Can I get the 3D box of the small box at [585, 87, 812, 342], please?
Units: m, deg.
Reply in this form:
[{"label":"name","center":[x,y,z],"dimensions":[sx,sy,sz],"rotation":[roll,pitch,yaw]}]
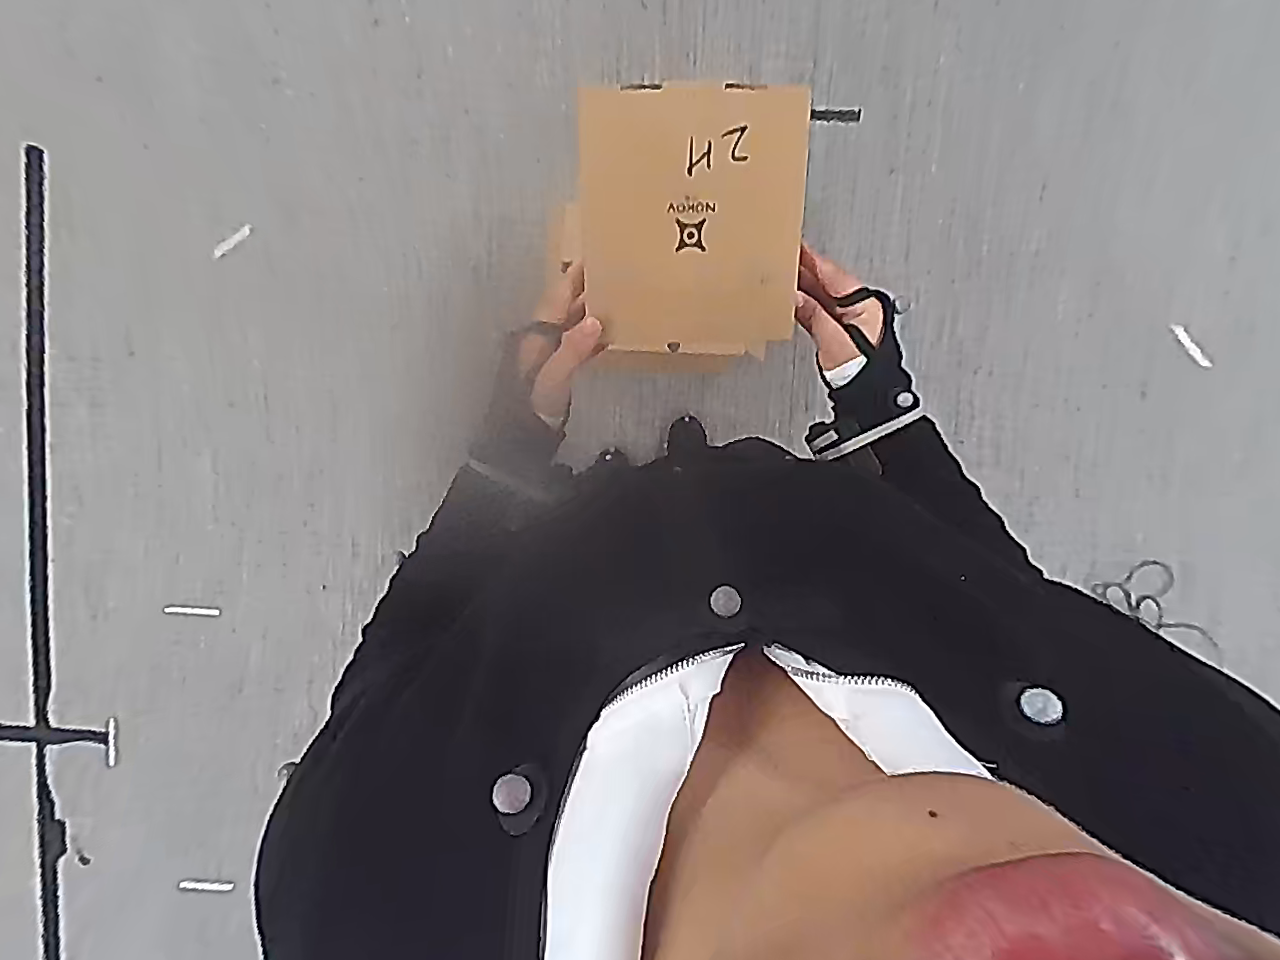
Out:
[{"label":"small box","center":[0.040,-0.221,0.487],"dimensions":[0.168,0.176,0.179],"rotation":[-1,108,-2]}]
